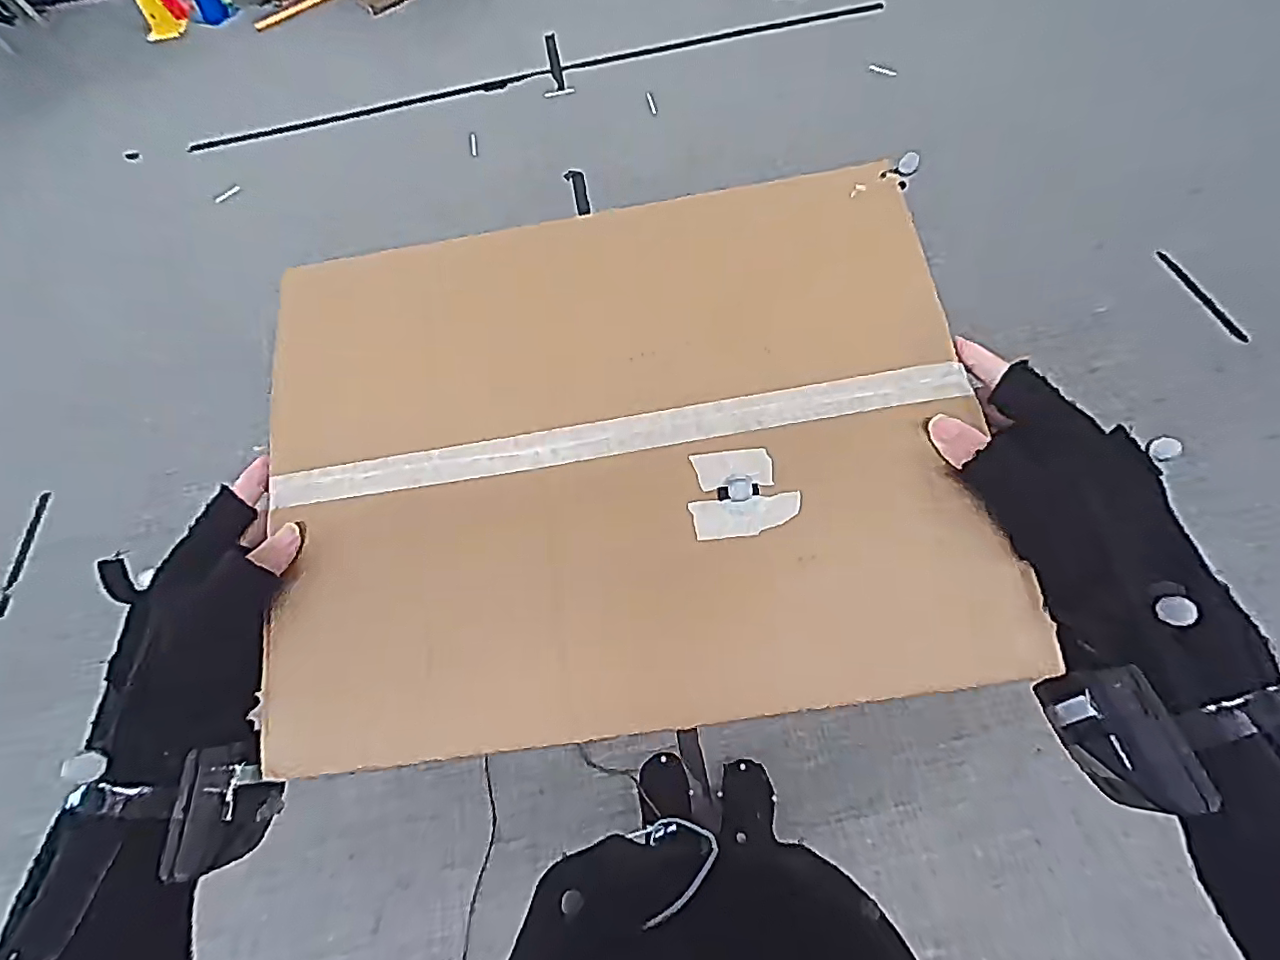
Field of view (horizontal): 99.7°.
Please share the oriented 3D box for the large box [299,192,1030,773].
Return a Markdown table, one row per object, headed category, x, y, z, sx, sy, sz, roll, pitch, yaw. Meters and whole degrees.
| category | x | y | z | sx | sy | sz | roll | pitch | yaw |
| --- | --- | --- | --- | --- | --- | --- | --- | --- | --- |
| large box | -0.002 | 0.022 | 0.471 | 0.408 | 0.320 | 0.320 | -9 | 75 | 2 |
